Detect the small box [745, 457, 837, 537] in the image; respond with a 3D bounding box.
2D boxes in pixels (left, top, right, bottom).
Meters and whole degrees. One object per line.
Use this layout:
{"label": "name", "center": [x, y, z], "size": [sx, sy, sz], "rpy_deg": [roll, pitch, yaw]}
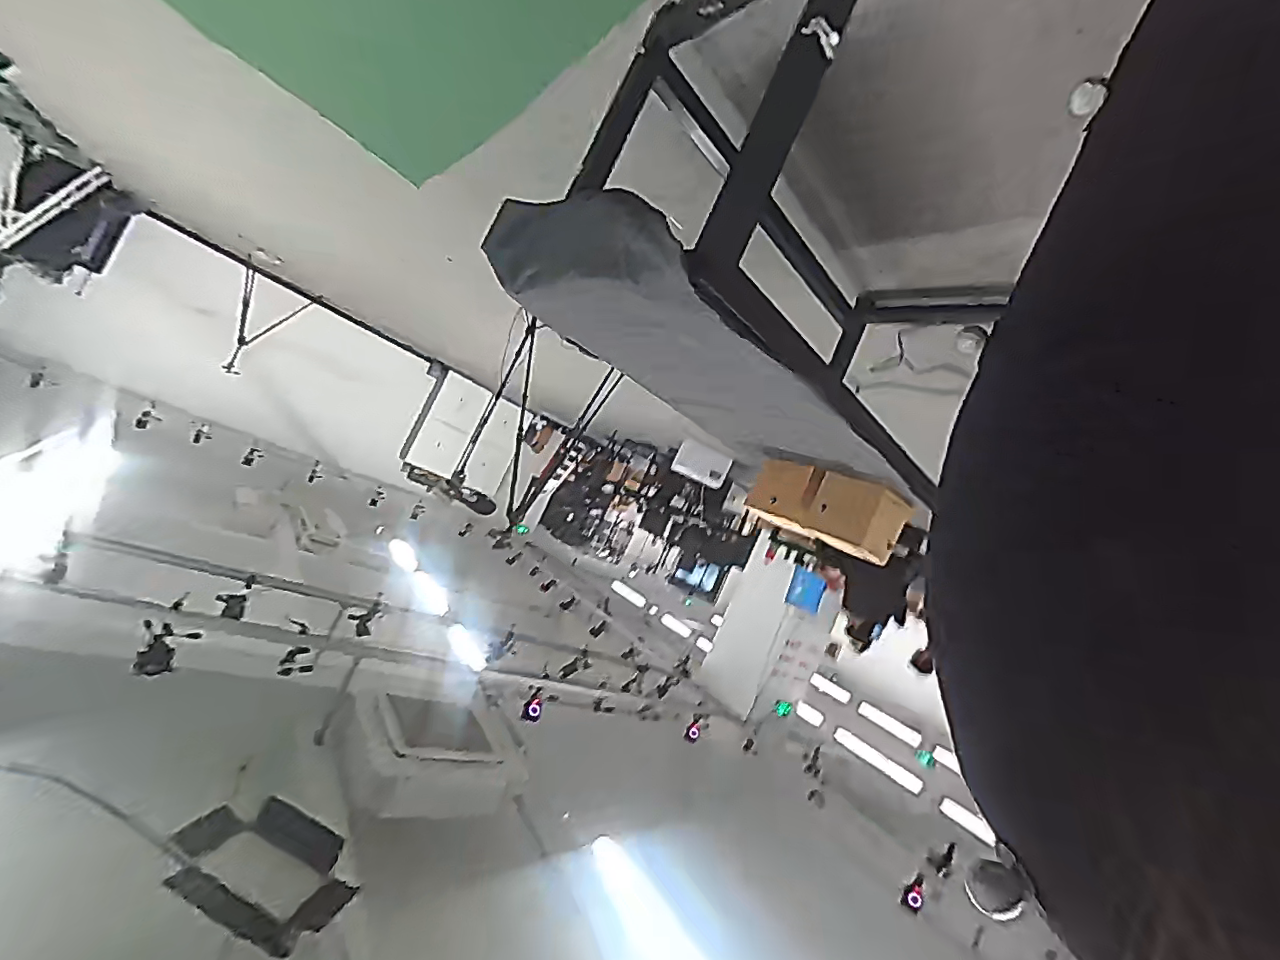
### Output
{"label": "small box", "center": [0.448, 0.045, 1.600], "size": [0.168, 0.176, 0.179], "rpy_deg": [28, 174, -41]}
